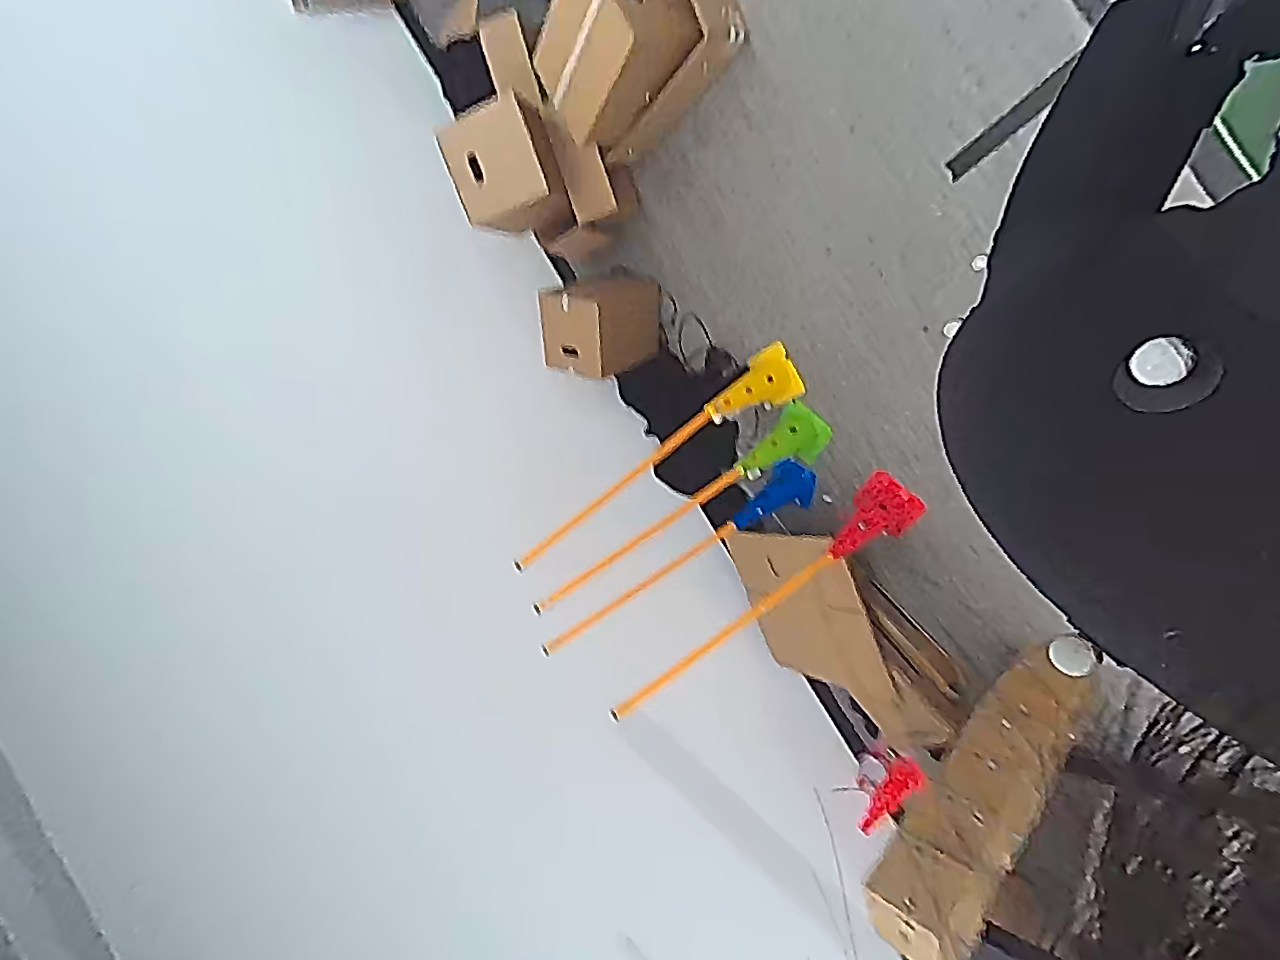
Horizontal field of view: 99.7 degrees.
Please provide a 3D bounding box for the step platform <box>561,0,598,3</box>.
[{"bbox_3d":[-0.391,-1.865,1.830,0.684,0.204,0.286,42,146,26],"label":"step platform"}]
